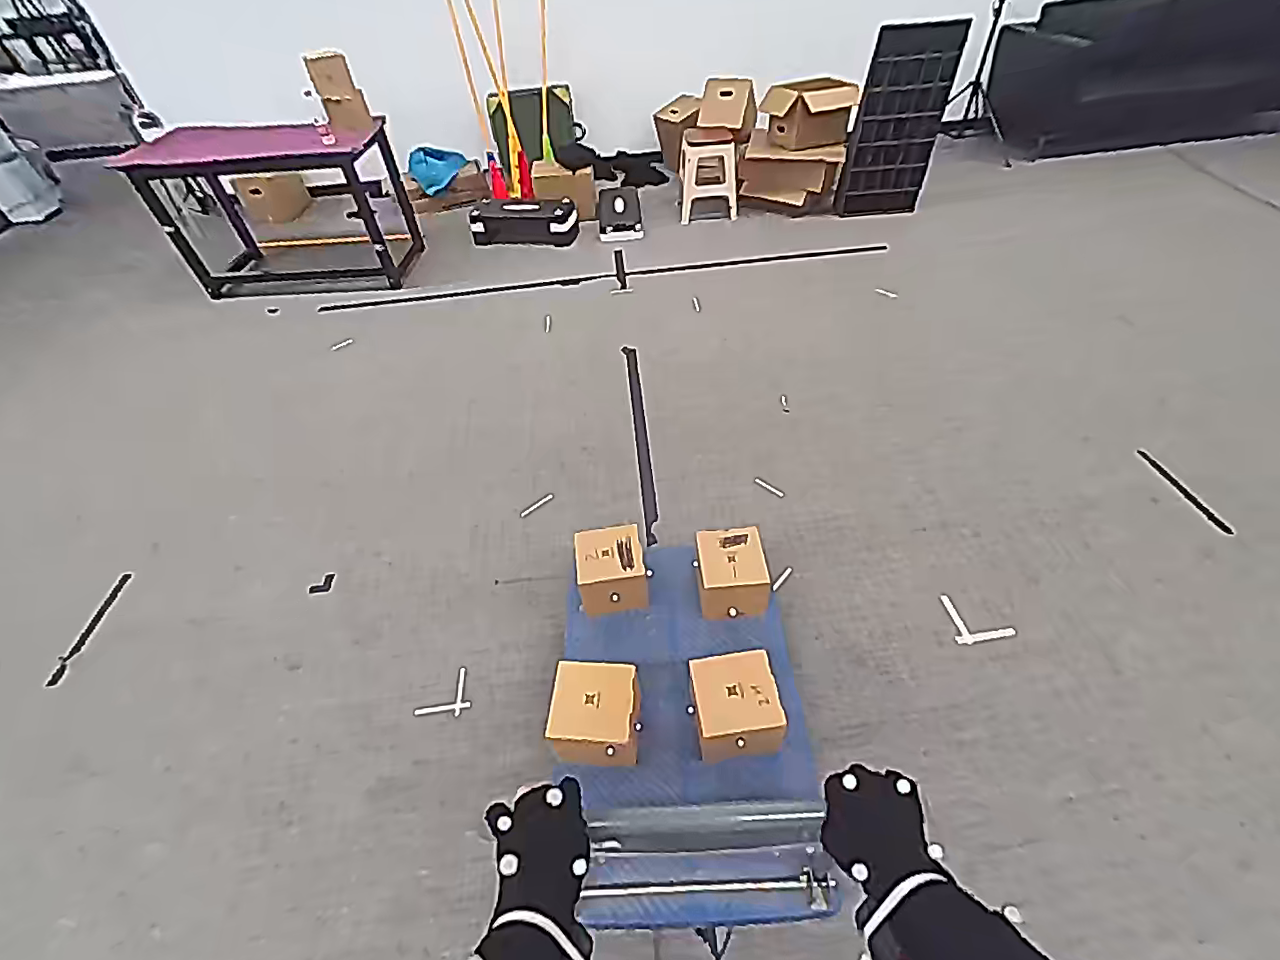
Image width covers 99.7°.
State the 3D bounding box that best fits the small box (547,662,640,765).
[{"bbox_3d":[-0.097,0.530,1.220,0.179,0.176,0.168,1,47,5],"label":"small box"}]

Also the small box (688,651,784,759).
[{"bbox_3d":[0.209,0.507,1.212,0.179,0.176,0.168,-8,47,-2],"label":"small box"}]

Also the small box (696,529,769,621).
[{"bbox_3d":[0.239,0.254,1.444,0.168,0.176,0.179,-5,48,1],"label":"small box"}]
